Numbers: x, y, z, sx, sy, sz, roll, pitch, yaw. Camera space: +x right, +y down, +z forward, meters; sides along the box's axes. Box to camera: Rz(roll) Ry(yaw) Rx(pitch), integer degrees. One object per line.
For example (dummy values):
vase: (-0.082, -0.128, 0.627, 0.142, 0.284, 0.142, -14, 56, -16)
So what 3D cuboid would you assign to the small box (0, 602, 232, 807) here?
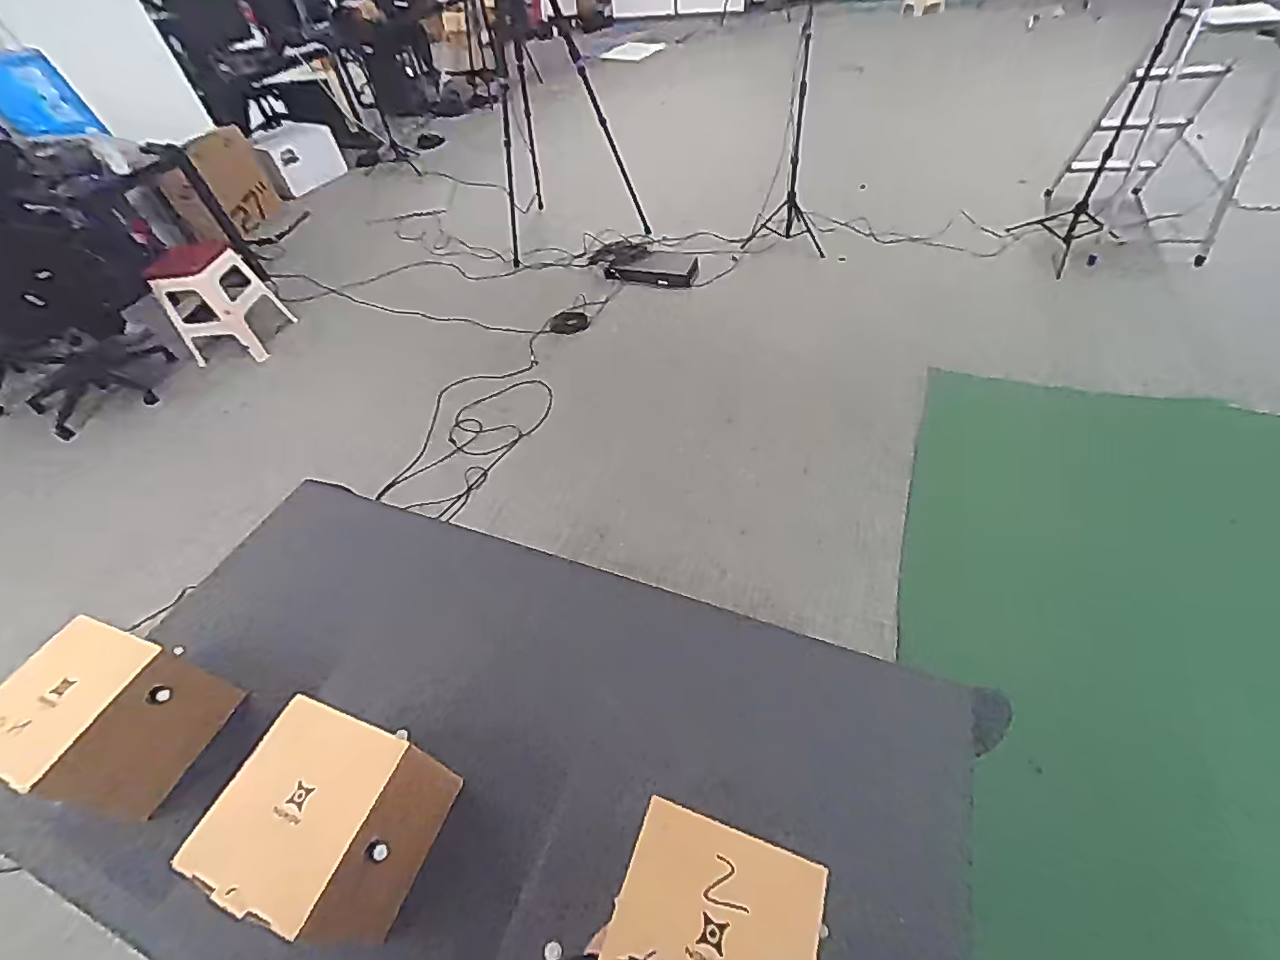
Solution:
small box: (-0.691, 0.295, 0.711, 0.168, 0.176, 0.179, 12, 52, 17)

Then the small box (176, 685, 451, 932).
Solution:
small box: (-0.339, 0.368, 0.609, 0.168, 0.176, 0.179, 13, 53, 17)
